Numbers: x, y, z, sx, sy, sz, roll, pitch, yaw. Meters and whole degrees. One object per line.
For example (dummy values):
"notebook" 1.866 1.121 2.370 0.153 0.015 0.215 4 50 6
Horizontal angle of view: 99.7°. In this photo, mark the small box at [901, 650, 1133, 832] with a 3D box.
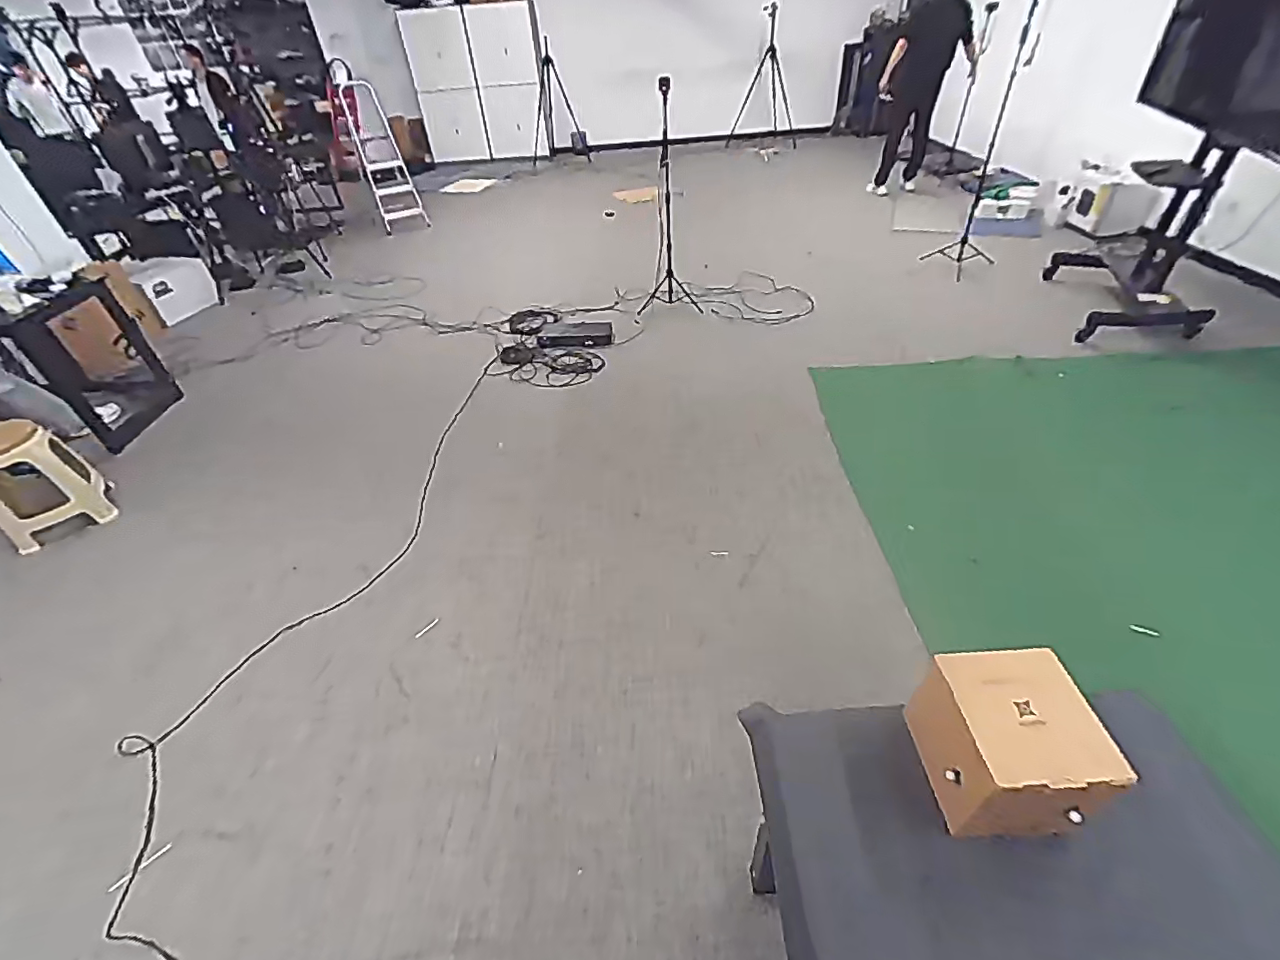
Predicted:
"small box" 0.491 0.359 0.740 0.168 0.176 0.179 -2 39 -3
